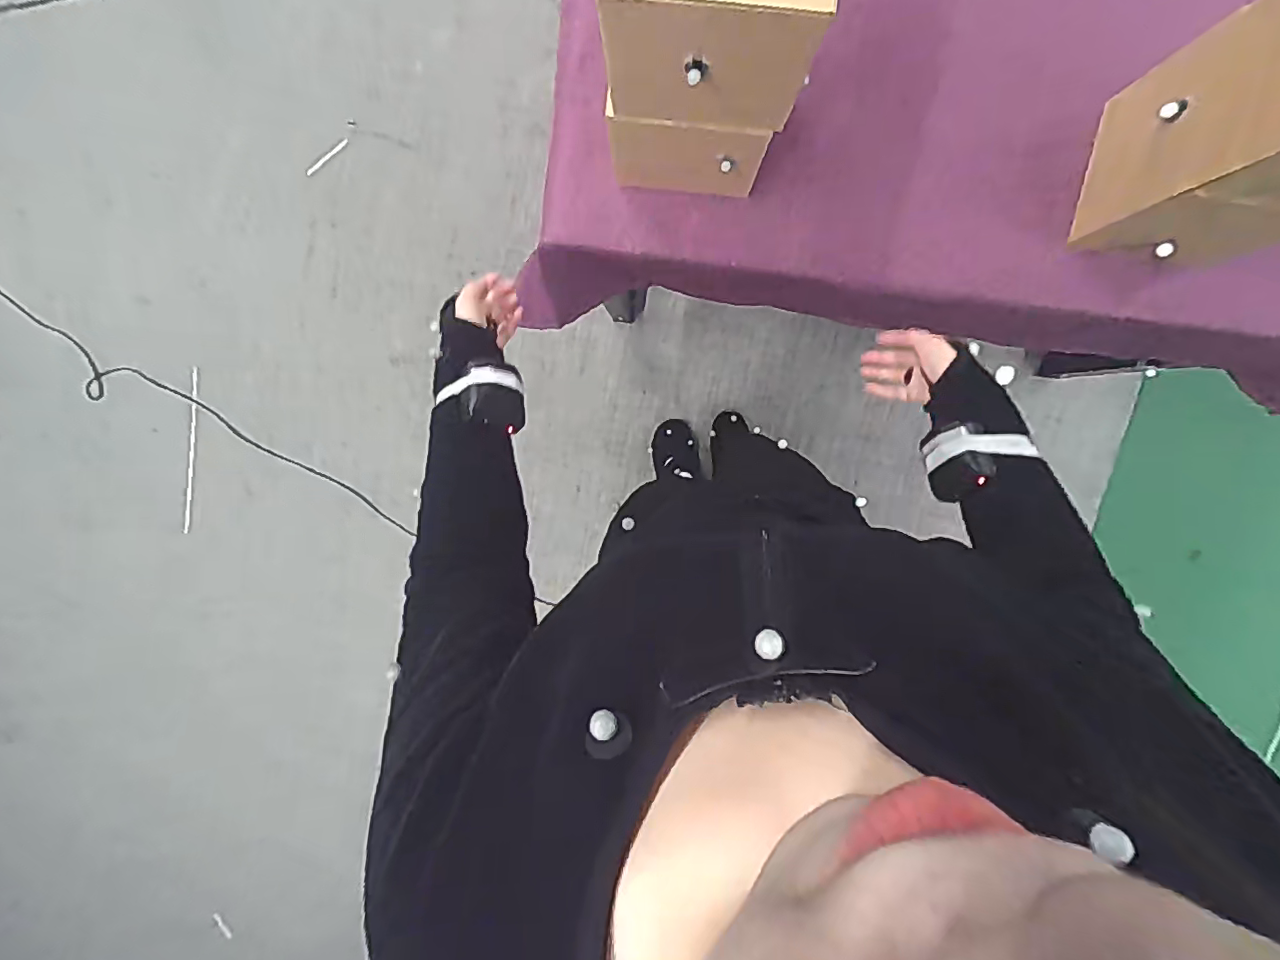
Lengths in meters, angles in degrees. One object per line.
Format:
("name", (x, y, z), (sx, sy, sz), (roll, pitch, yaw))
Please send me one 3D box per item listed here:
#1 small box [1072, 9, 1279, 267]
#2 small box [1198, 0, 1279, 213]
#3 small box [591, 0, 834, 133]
("small box", (0.637, -0.360, 0.604), (0.168, 0.176, 0.179), (11, 98, 2))
("small box", (0.632, -0.340, 0.442), (0.168, 0.176, 0.179), (11, 98, 1))
("small box", (0.062, -0.424, 0.458), (0.179, 0.176, 0.168), (6, 97, 2))
